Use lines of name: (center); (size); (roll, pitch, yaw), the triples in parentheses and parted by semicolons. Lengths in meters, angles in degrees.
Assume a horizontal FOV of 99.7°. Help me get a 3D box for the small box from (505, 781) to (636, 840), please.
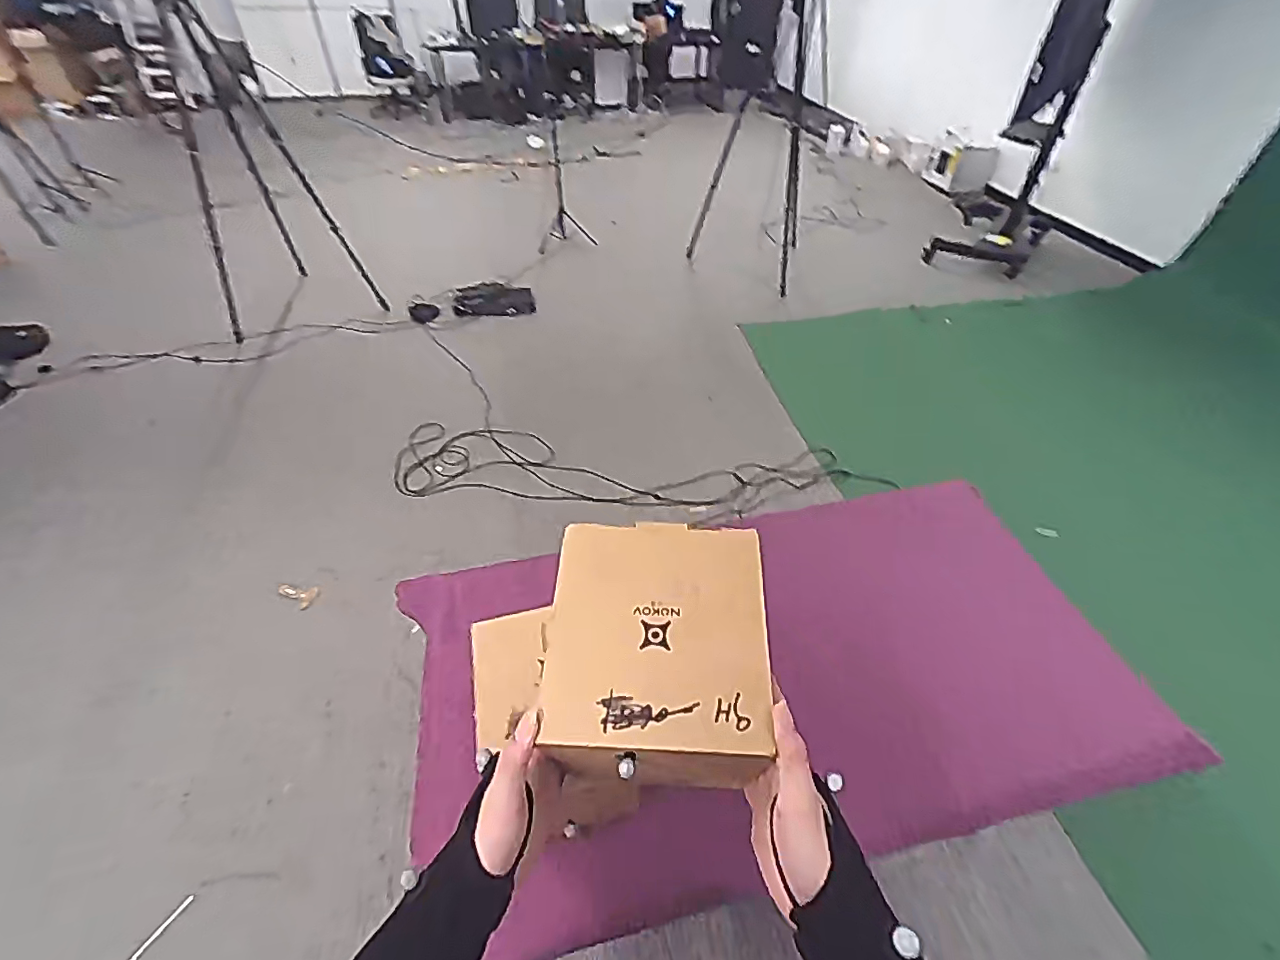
small box: (-0.106, 0.383, 0.780); (0.168, 0.176, 0.179); (-11, 47, -10)

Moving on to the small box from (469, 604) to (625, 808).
small box: (-0.104, 0.273, 0.658); (0.168, 0.176, 0.179); (-11, 45, -10)

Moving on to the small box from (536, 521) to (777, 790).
small box: (0.019, 0.155, 0.473); (0.168, 0.176, 0.179); (1, 54, 5)
